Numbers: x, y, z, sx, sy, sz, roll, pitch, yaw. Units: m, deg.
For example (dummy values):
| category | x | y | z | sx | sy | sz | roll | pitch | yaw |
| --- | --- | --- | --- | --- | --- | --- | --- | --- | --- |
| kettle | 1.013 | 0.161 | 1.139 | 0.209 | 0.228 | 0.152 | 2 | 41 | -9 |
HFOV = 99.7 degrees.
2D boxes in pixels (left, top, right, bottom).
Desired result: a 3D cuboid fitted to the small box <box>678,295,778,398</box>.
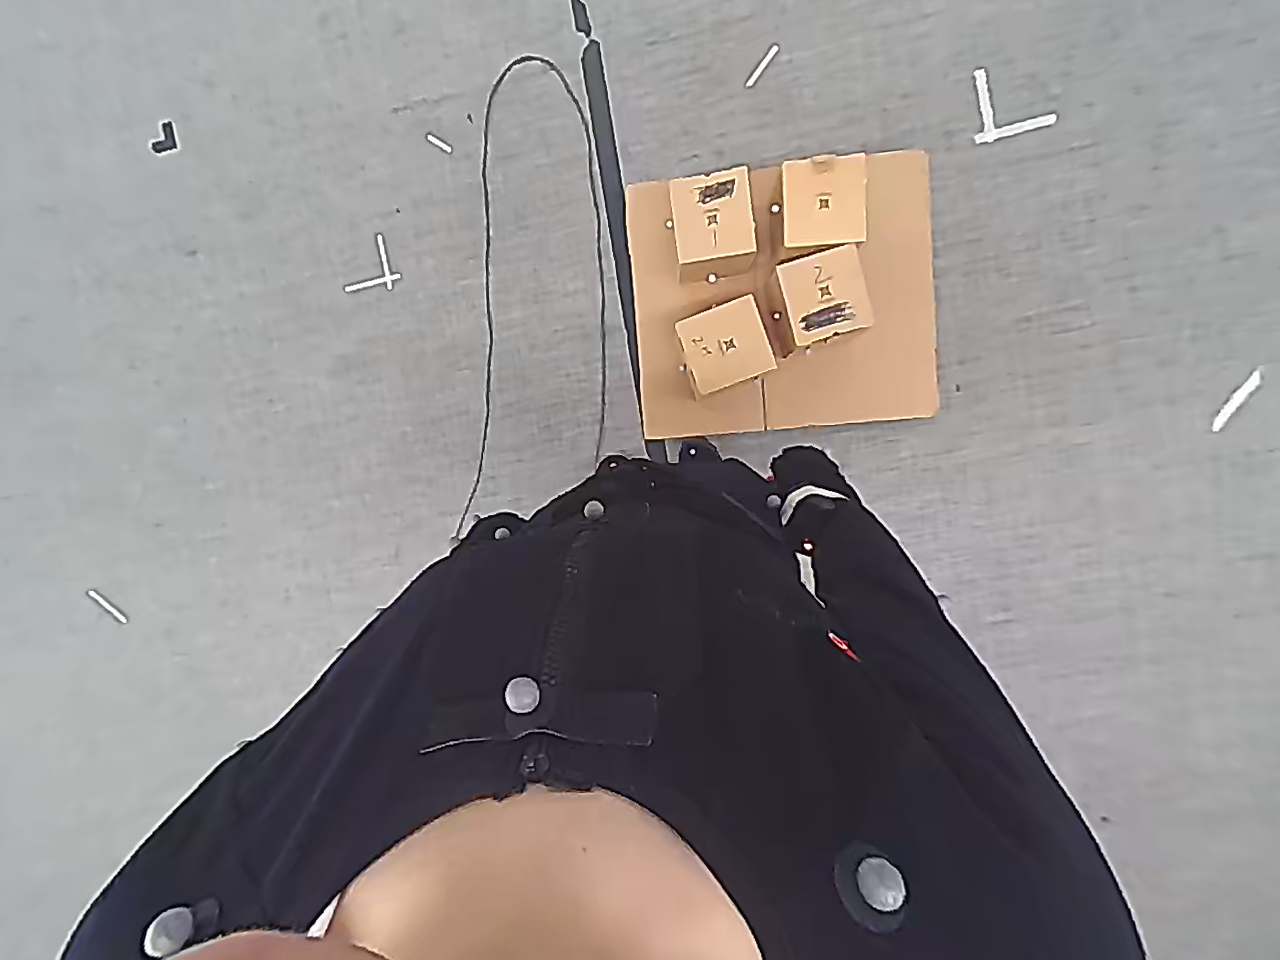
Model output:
| category | x | y | z | sx | sy | sz | roll | pitch | yaw |
| --- | --- | --- | --- | --- | --- | --- | --- | --- | --- |
| small box | 0.191 | -0.294 | 1.226 | 0.179 | 0.176 | 0.168 | -19 | 92 | 6 |

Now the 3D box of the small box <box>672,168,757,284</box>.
| category | x | y | z | sx | sy | sz | roll | pitch | yaw |
| --- | --- | --- | --- | --- | --- | --- | --- | --- | --- |
| small box | 0.161 | -0.559 | 1.208 | 0.168 | 0.176 | 0.179 | -7 | 95 | 5 |
